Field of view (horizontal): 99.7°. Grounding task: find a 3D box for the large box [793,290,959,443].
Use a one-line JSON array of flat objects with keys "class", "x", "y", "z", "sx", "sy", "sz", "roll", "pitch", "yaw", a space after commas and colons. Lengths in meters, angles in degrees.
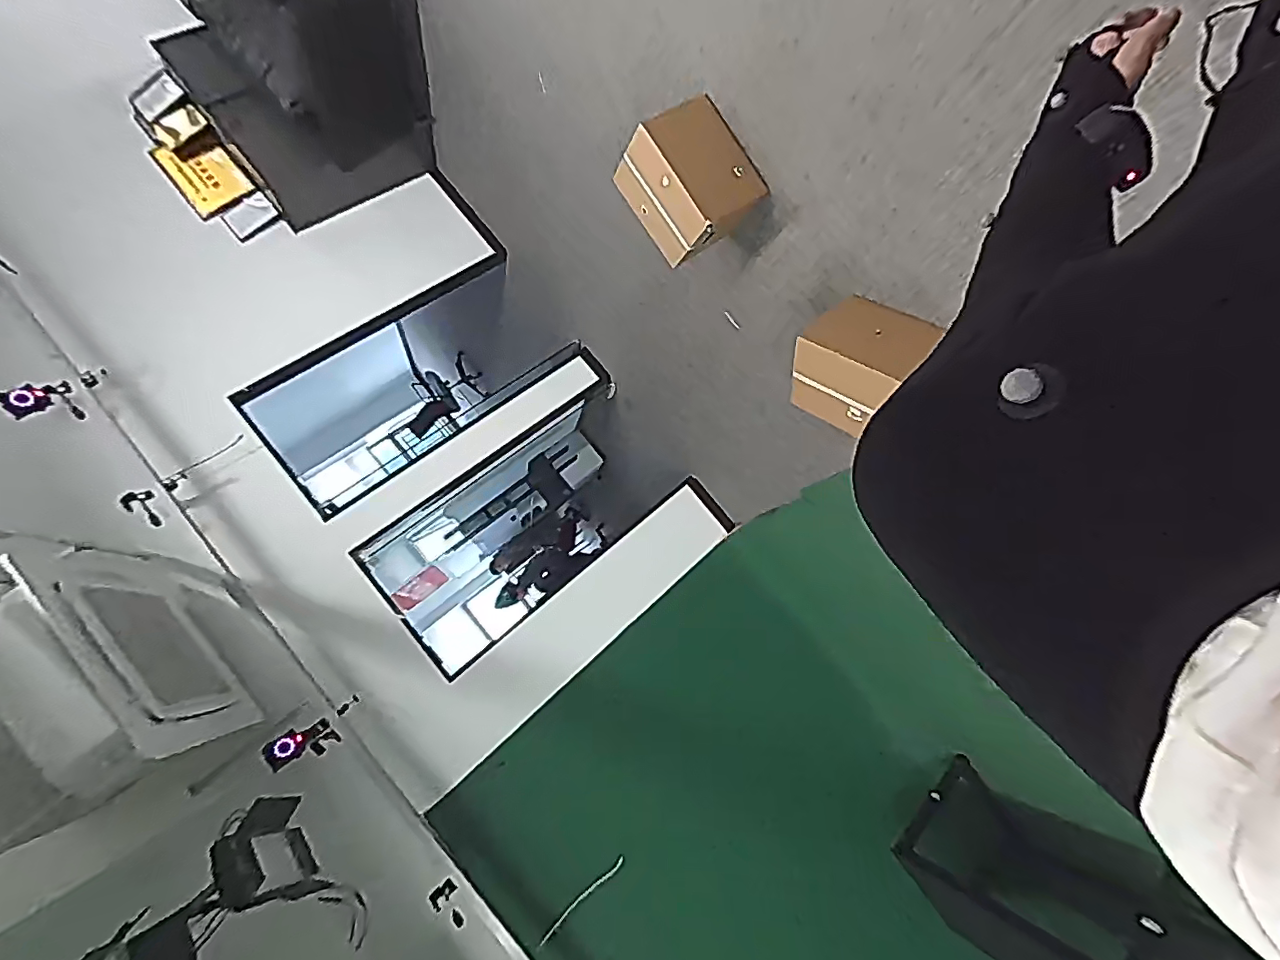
[{"class": "large box", "x": 0.798, "y": -0.406, "z": 1.881, "sx": 0.408, "sy": 0.320, "sz": 0.320, "roll": 36, "pitch": 156, "yaw": 33}]
